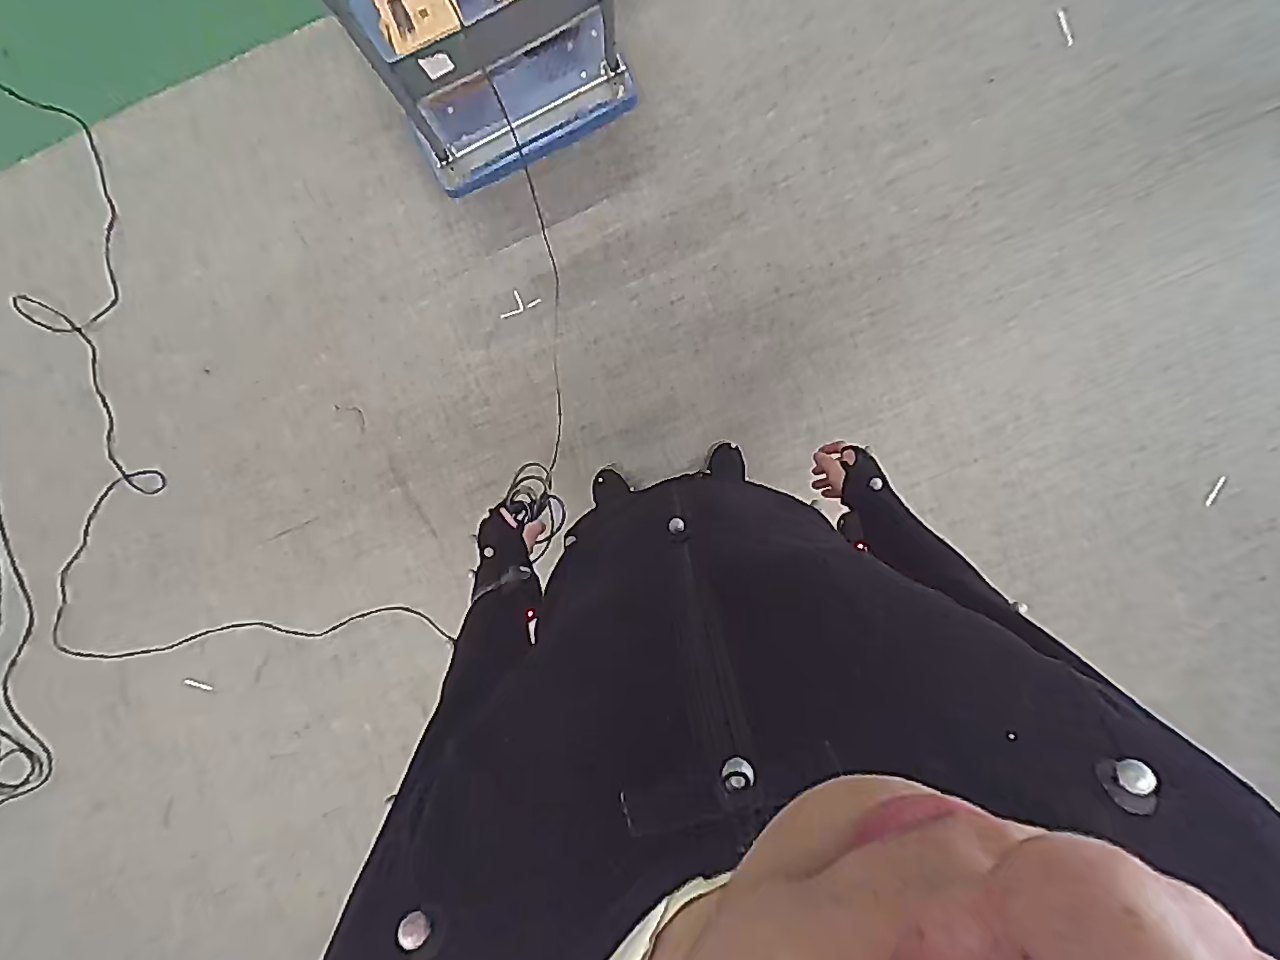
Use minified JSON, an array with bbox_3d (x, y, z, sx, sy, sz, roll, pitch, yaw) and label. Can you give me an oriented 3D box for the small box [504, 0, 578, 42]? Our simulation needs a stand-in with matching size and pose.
[{"bbox_3d":[-0.262,-1.220,1.295,0.168,0.176,0.179,-24,94,3],"label":"small box"}]
